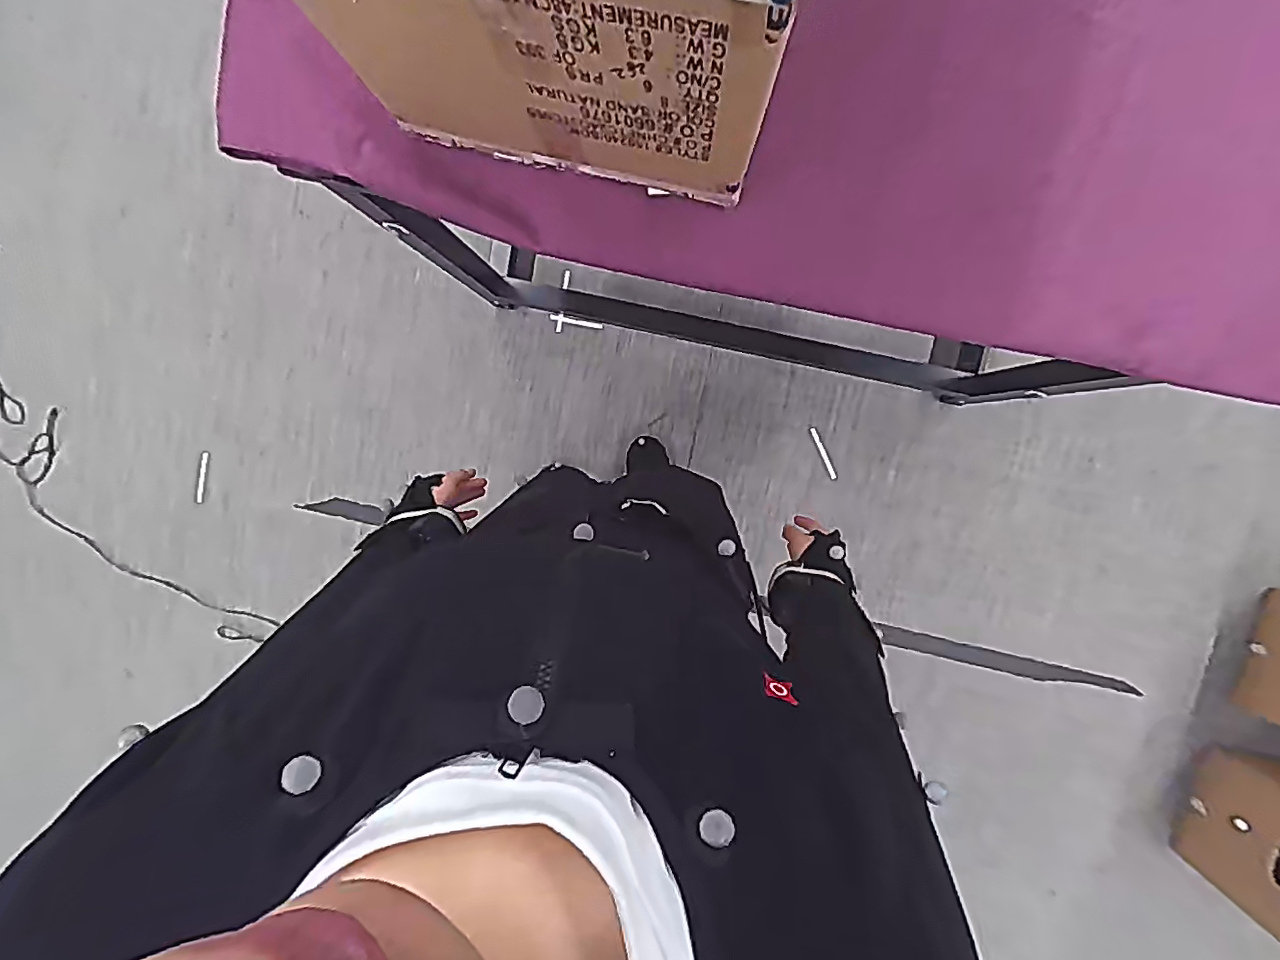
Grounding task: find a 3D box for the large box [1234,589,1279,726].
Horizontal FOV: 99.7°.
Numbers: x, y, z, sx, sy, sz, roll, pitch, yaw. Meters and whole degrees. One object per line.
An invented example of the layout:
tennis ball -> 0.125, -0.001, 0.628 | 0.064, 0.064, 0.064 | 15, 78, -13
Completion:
large box -> 1.684, 0.458, 1.172 | 0.408, 0.320, 0.320 | 11, 95, 3
